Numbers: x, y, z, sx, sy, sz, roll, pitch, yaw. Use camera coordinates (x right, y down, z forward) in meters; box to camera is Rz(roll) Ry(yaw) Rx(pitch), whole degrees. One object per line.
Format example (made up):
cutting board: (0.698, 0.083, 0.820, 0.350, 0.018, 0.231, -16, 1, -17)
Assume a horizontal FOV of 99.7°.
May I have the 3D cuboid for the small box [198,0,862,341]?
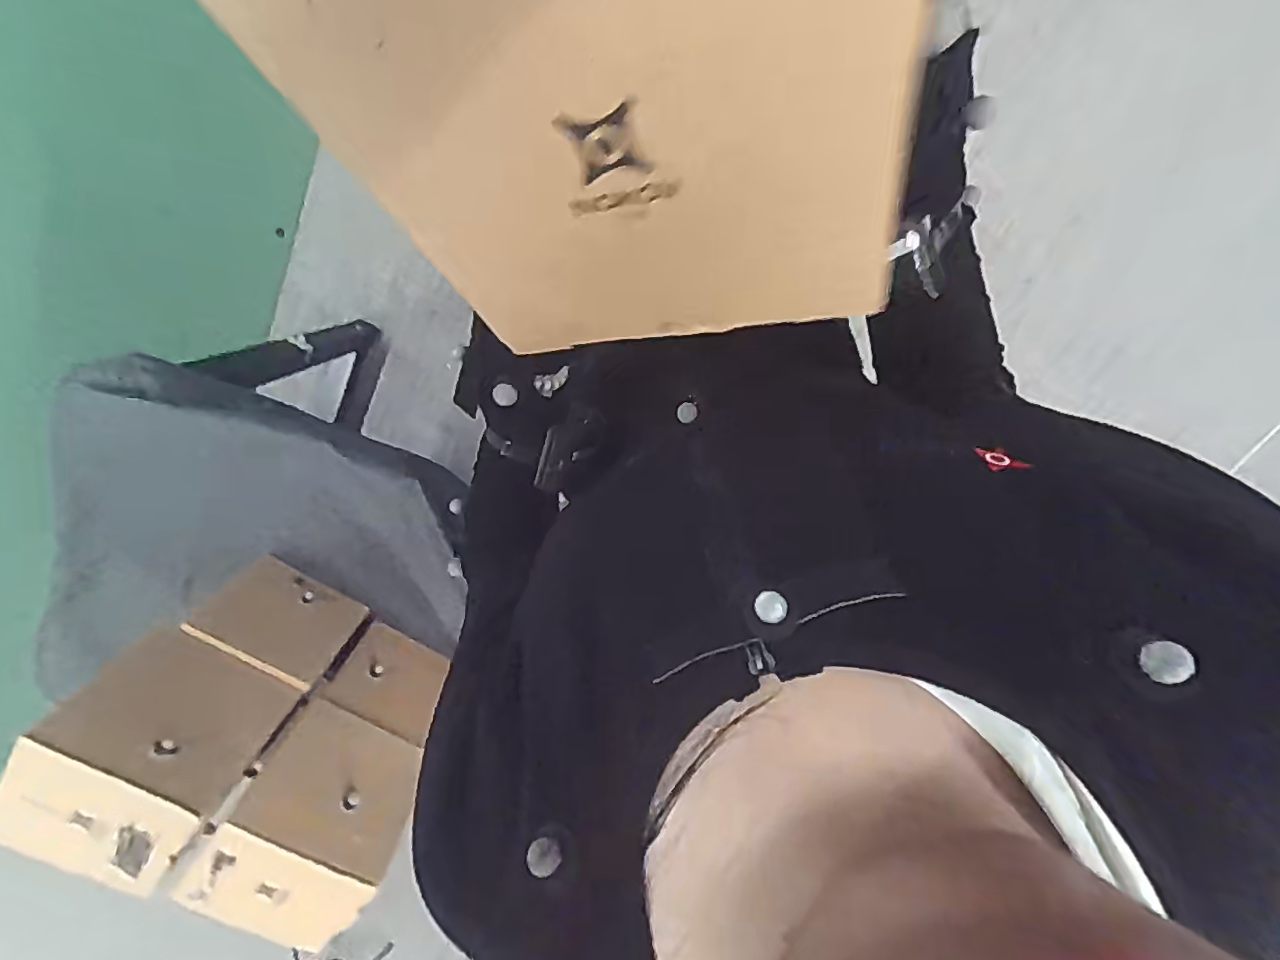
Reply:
small box: (-0.008, -0.177, 0.202, 0.168, 0.179, 0.176, 1, 71, 20)
